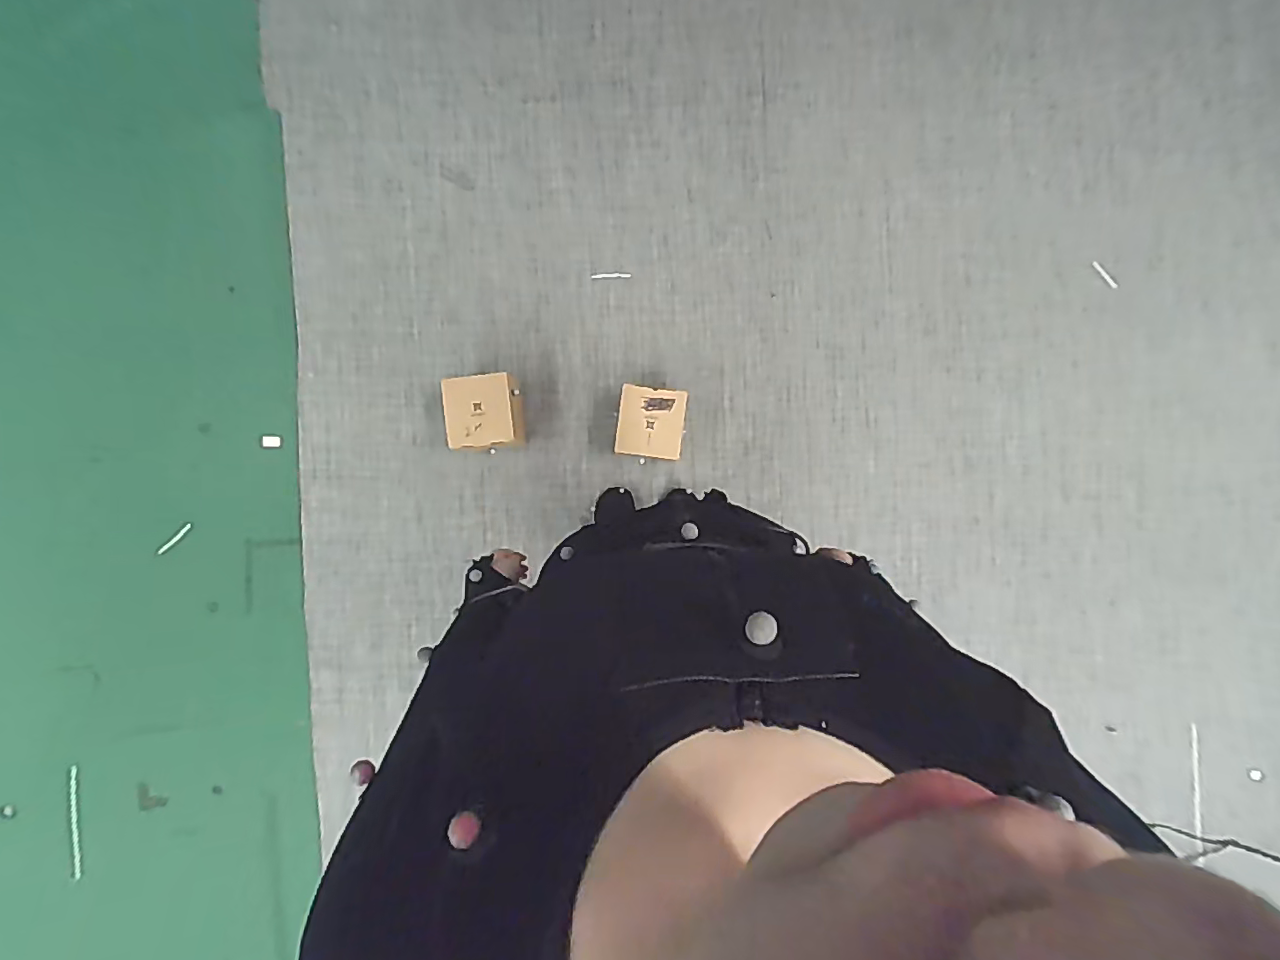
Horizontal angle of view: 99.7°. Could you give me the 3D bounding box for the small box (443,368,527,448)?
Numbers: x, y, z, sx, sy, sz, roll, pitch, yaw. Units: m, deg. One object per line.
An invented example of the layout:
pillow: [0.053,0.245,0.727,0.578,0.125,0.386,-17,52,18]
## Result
small box: [-0.397,-0.182,1.402,0.168,0.176,0.179,-6,90,-1]

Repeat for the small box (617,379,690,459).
small box: [0.030,-0.153,1.414,0.168,0.176,0.179,7,91,-1]
